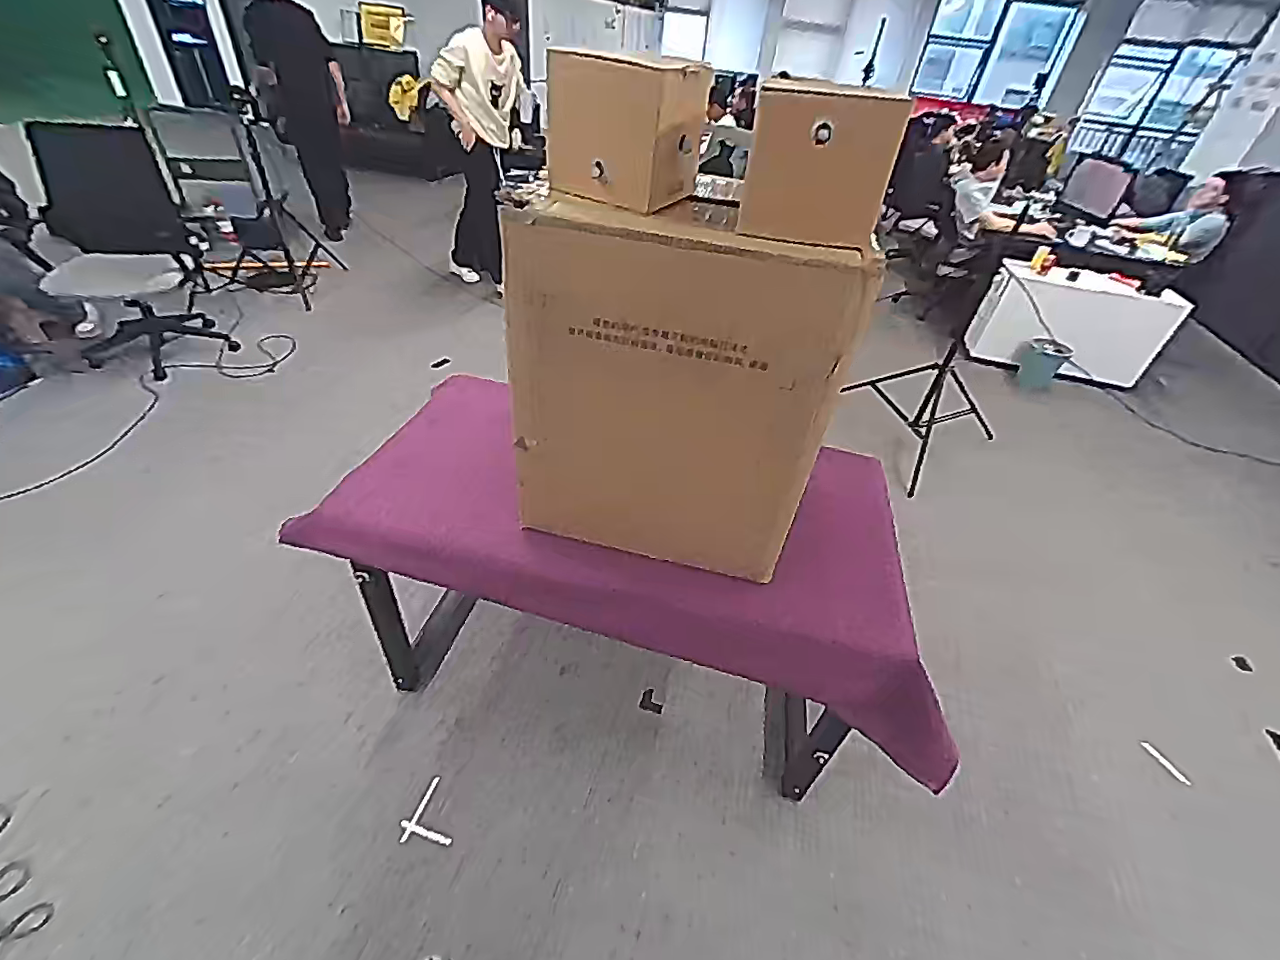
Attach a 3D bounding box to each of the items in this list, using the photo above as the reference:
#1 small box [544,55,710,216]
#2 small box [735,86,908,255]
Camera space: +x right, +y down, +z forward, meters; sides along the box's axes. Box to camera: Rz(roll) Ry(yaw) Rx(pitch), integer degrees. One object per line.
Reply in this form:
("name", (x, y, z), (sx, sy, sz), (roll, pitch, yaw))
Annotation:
("small box", (-0.021, -0.499, 0.787), (0.179, 0.176, 0.168), (23, 43, 17))
("small box", (0.230, -0.417, 0.729), (0.179, 0.176, 0.168), (11, 40, 6))
